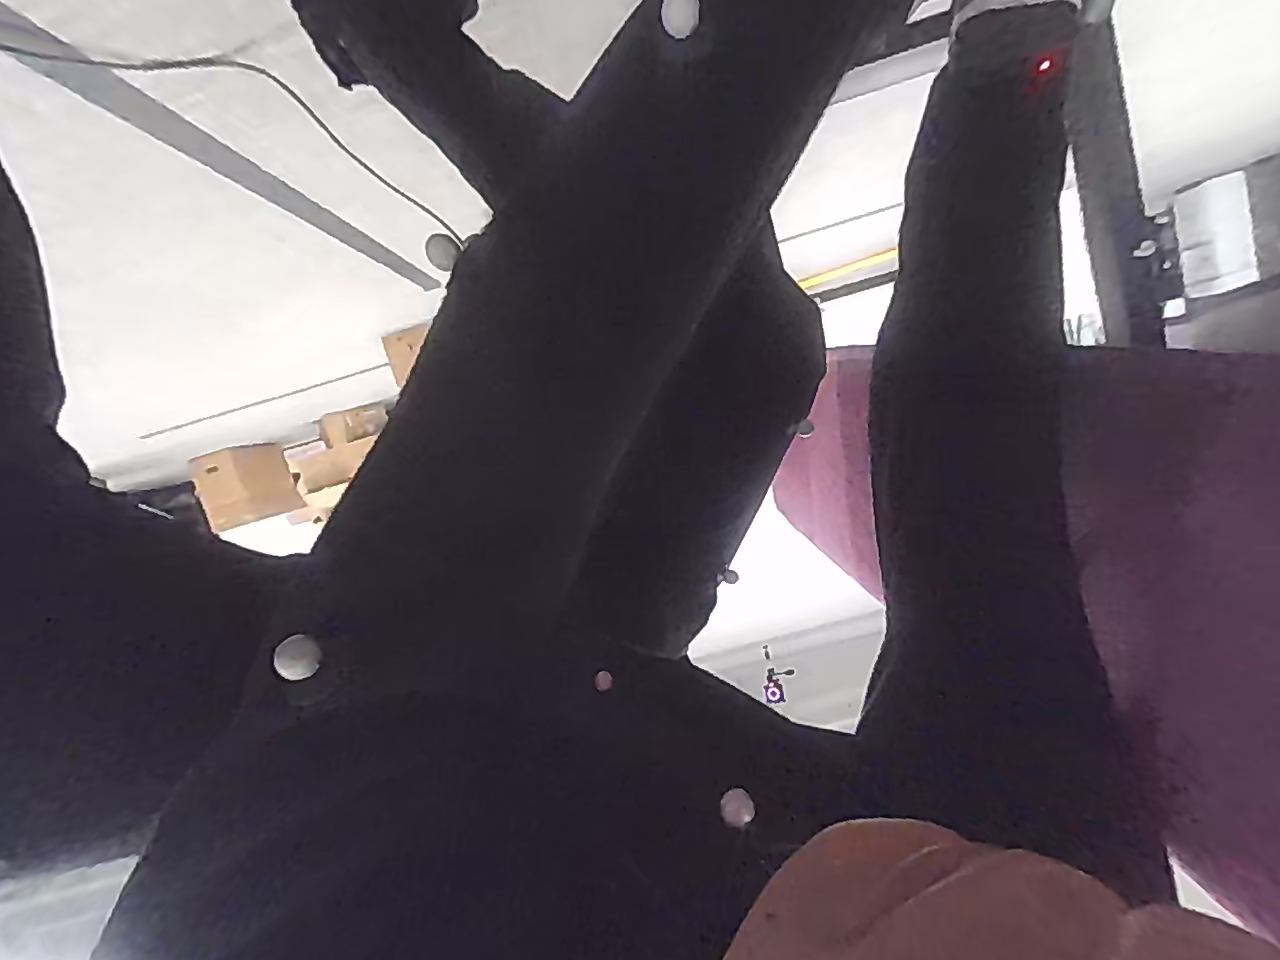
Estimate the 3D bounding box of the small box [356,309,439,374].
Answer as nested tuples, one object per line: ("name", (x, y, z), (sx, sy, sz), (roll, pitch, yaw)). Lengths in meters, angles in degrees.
("small box", (-0.800, -0.456, 1.792), (0.168, 0.176, 0.179), (-16, -171, 5))
